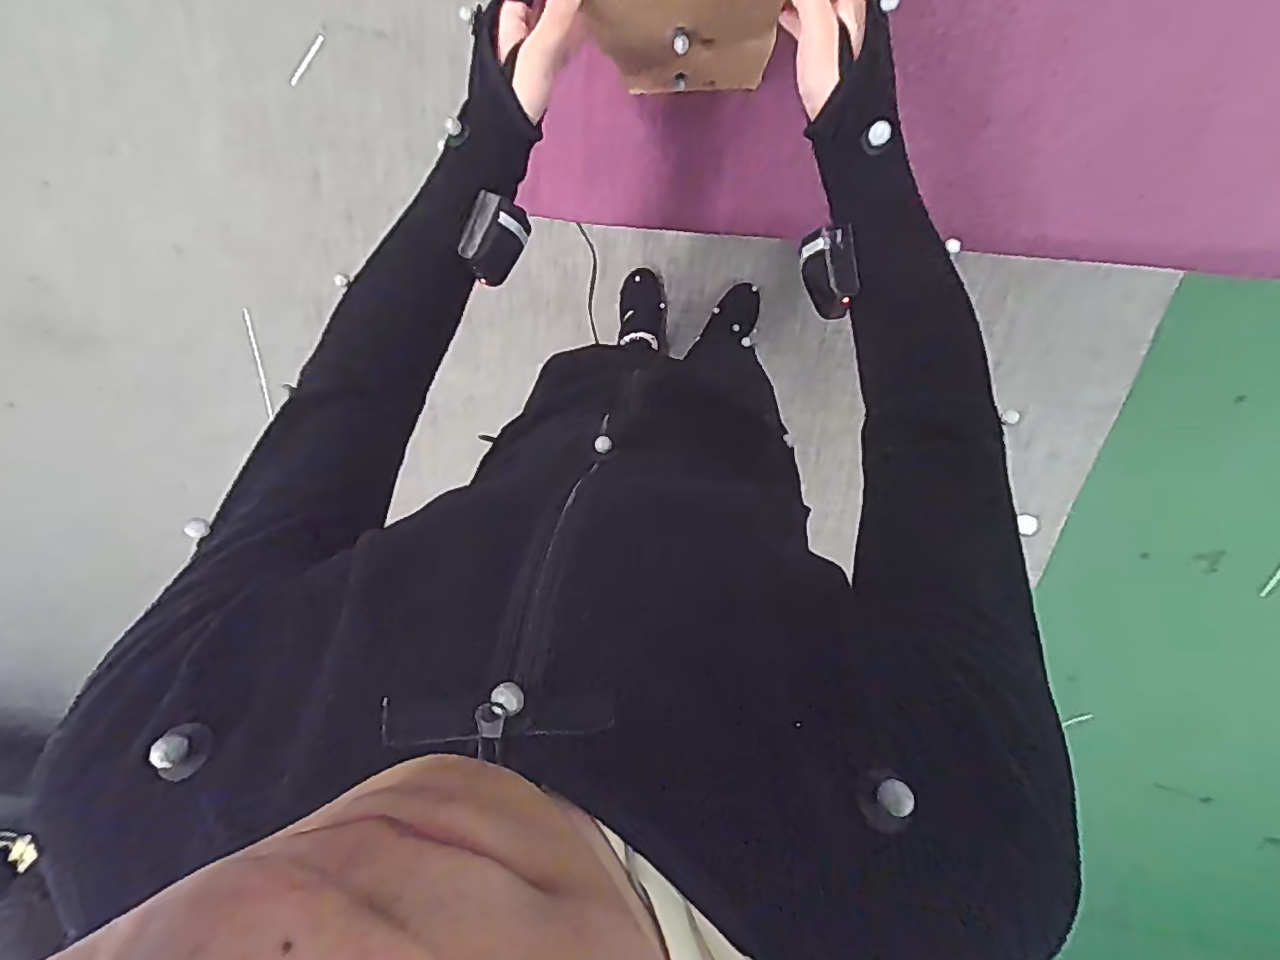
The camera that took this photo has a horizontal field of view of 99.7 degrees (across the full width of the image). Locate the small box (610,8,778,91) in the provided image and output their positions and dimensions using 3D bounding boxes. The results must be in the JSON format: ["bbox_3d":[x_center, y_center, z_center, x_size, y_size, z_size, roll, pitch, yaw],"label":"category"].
[{"bbox_3d":[0.055,-0.536,0.566,0.168,0.176,0.179,1,115,6],"label":"small box"}]

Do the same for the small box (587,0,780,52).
[{"bbox_3d":[0.032,-0.469,0.418,0.168,0.176,0.179,0,115,7],"label":"small box"}]
